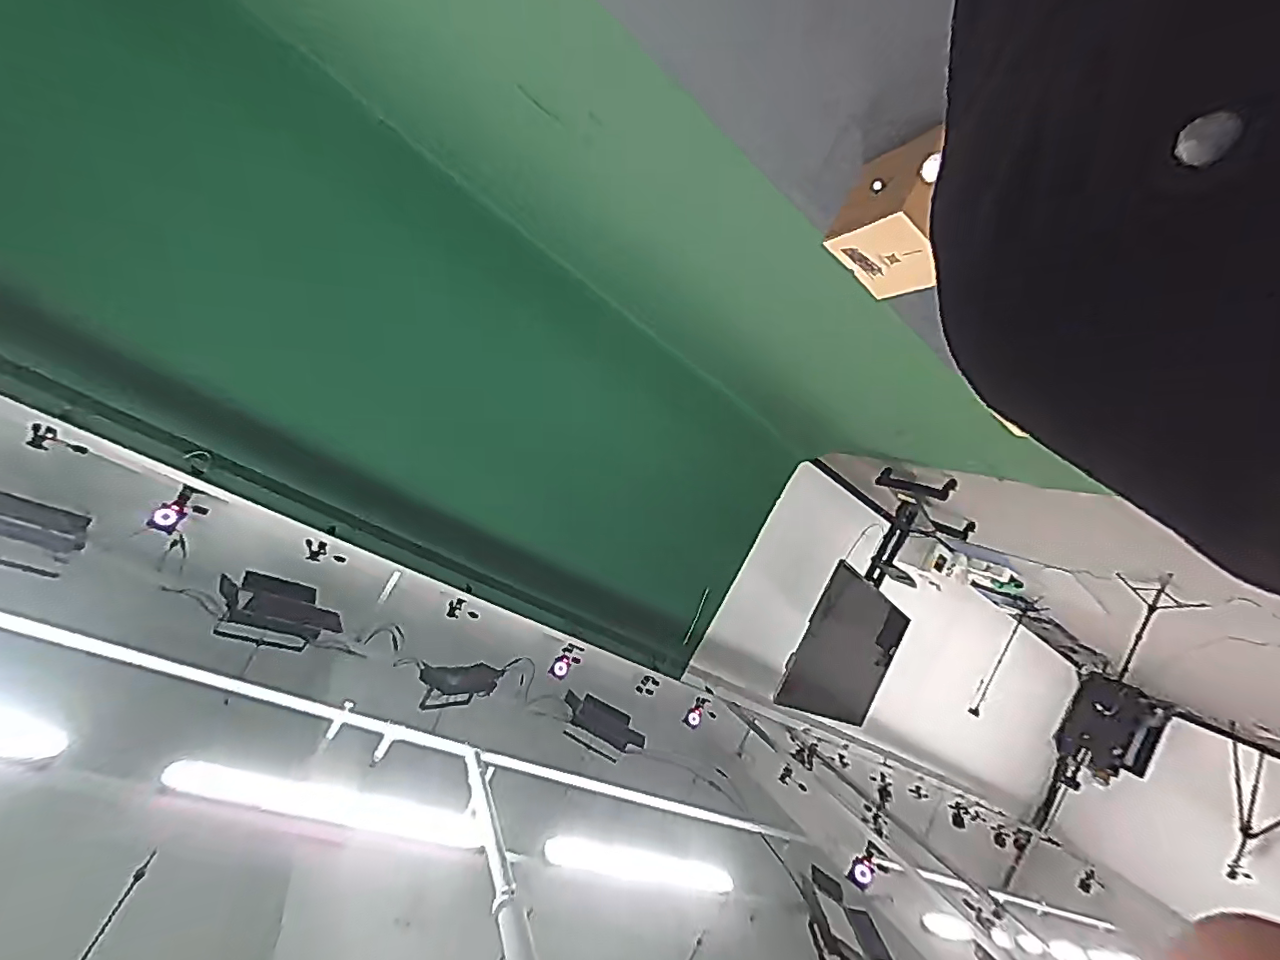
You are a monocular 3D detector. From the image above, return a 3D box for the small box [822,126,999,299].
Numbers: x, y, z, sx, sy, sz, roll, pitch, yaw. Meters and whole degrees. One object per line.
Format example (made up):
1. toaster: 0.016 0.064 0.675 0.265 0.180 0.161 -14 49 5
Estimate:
1. small box: 0.453 -0.440 0.913 0.168 0.176 0.179 31 174 -23
